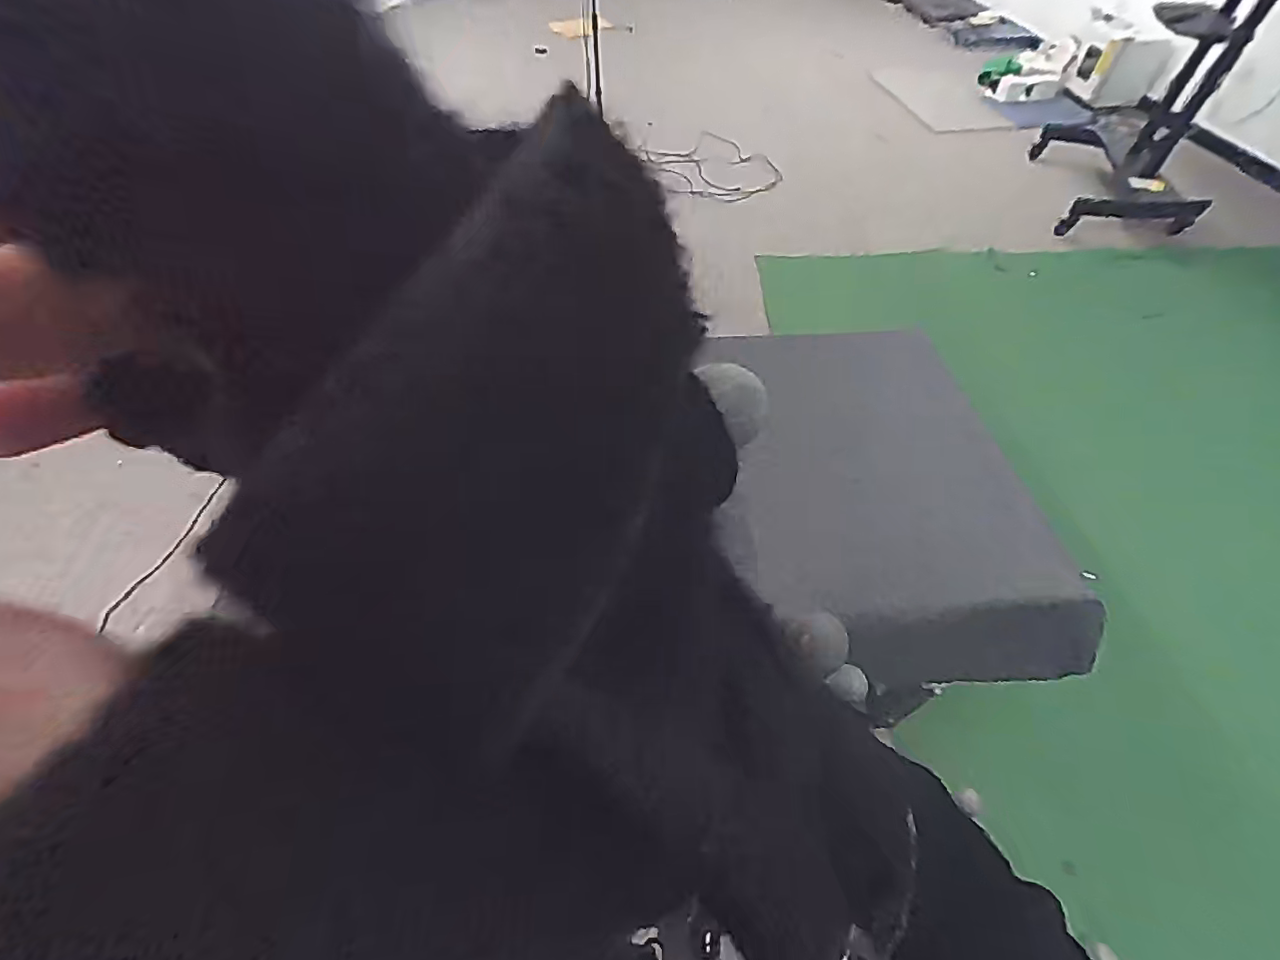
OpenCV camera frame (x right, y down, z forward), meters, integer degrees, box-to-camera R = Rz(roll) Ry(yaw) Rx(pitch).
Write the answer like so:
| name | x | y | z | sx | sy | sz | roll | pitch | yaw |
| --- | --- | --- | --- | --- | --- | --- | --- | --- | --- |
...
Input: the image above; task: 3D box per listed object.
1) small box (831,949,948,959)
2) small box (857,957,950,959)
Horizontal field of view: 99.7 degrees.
| name | x | y | z | sx | sy | sz | roll | pitch | yaw |
| --- | --- | --- | --- | --- | --- | --- | --- | --- | --- |
| small box | 0.457 | 0.949 | 0.960 | 0.179 | 0.176 | 0.168 | -3 | 51 | -1 |
| small box | 0.447 | 0.847 | 0.830 | 0.179 | 0.176 | 0.168 | 0 | 50 | 0 |
